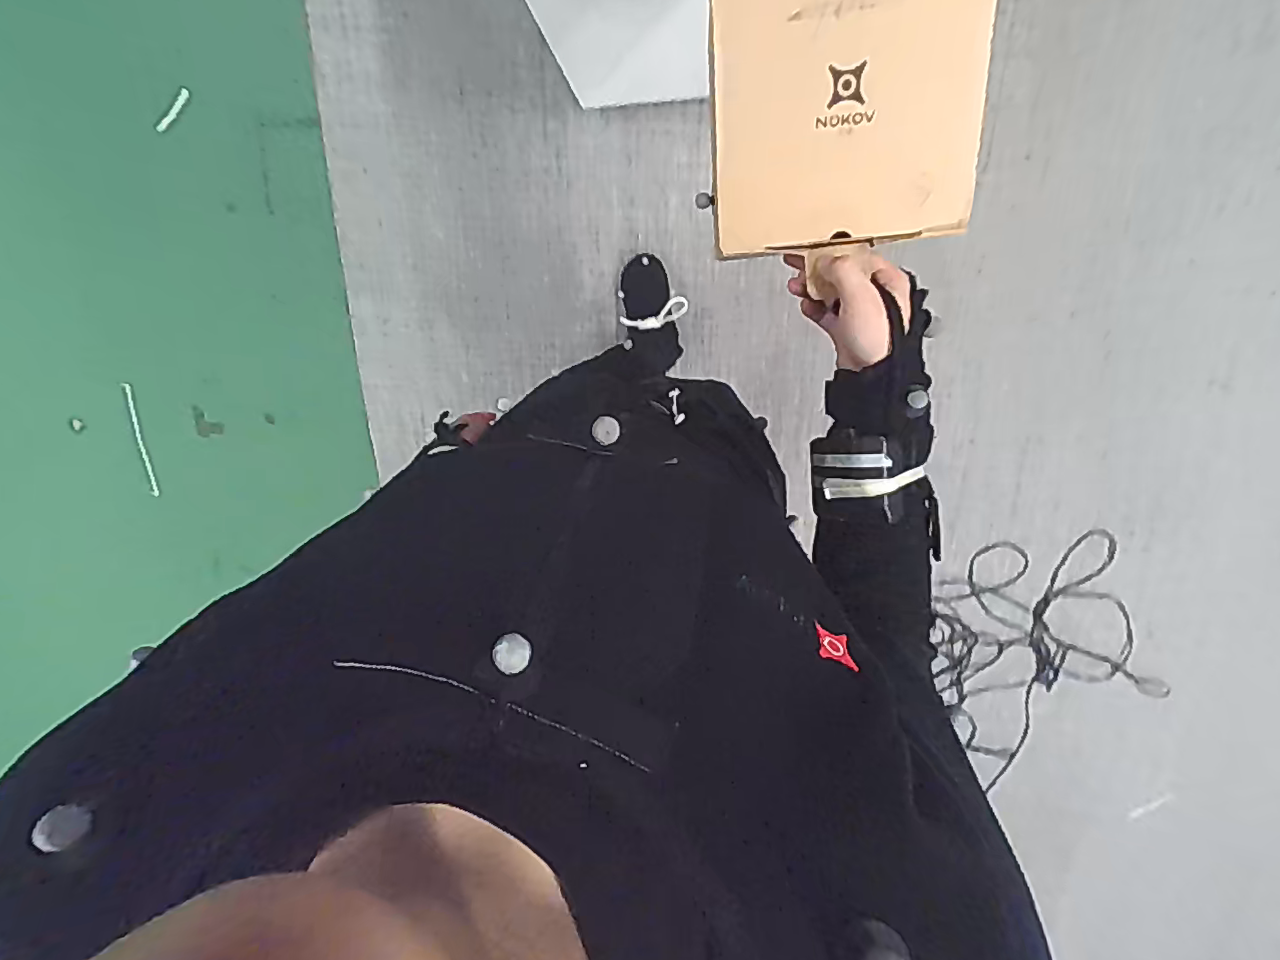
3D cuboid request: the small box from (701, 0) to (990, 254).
[{"bbox_3d":[0.134,-0.273,0.410,0.168,0.176,0.179,-4,110,7],"label":"small box"}]
